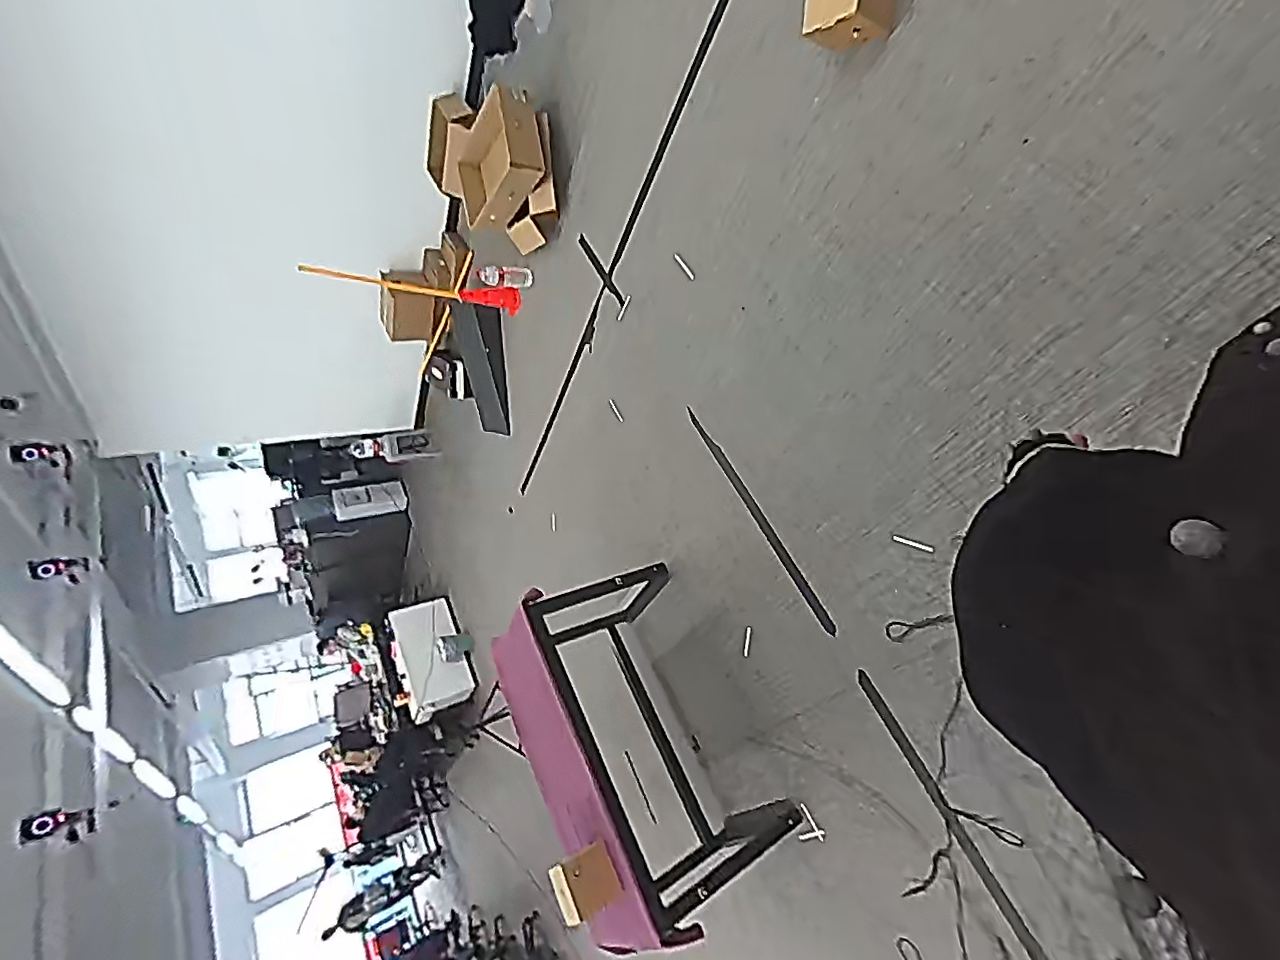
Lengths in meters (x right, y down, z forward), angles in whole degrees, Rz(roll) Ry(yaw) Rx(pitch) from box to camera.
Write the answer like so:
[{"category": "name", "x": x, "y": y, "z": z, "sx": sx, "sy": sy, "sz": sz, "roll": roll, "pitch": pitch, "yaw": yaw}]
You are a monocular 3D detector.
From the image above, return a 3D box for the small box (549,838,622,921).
[{"category": "small box", "x": -0.187, "y": 1.364, "z": 1.855, "sx": 0.179, "sy": 0.176, "sz": 0.168, "roll": 59, "pitch": 142, "yaw": 26}]

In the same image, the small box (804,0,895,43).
[{"category": "small box", "x": 0.555, "y": -1.279, "z": 1.407, "sx": 0.168, "sy": 0.176, "sz": 0.179, "roll": 24, "pitch": 116, "yaw": 48}]
